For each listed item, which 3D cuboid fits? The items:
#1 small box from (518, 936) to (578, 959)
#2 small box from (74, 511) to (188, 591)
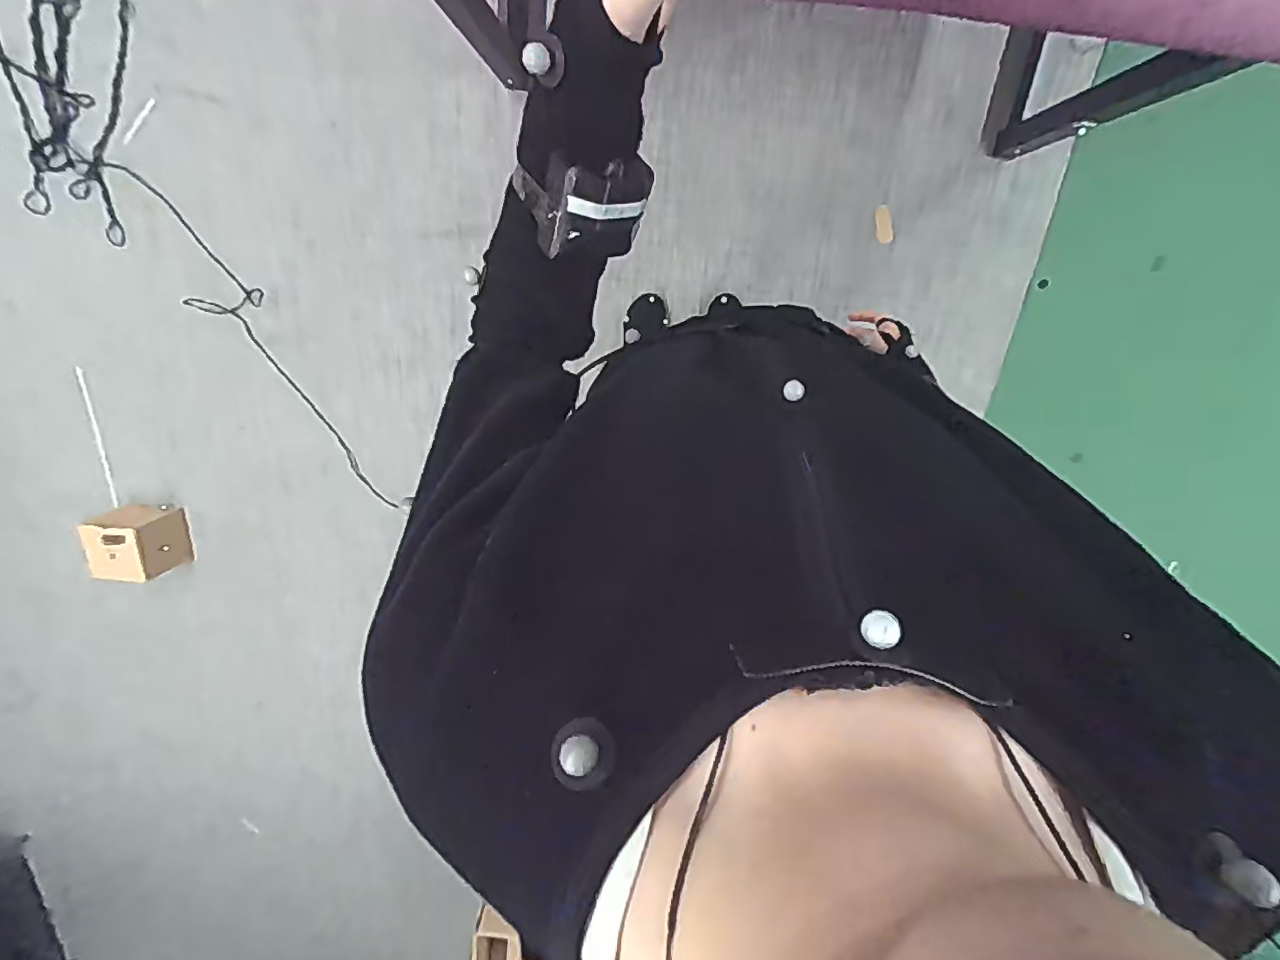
[{"bbox_3d":[-0.269,1.407,1.480,0.168,0.176,0.179,9,109,-2],"label":"small box"},{"bbox_3d":[-1.500,0.204,1.605,0.168,0.176,0.179,7,109,2],"label":"small box"}]
